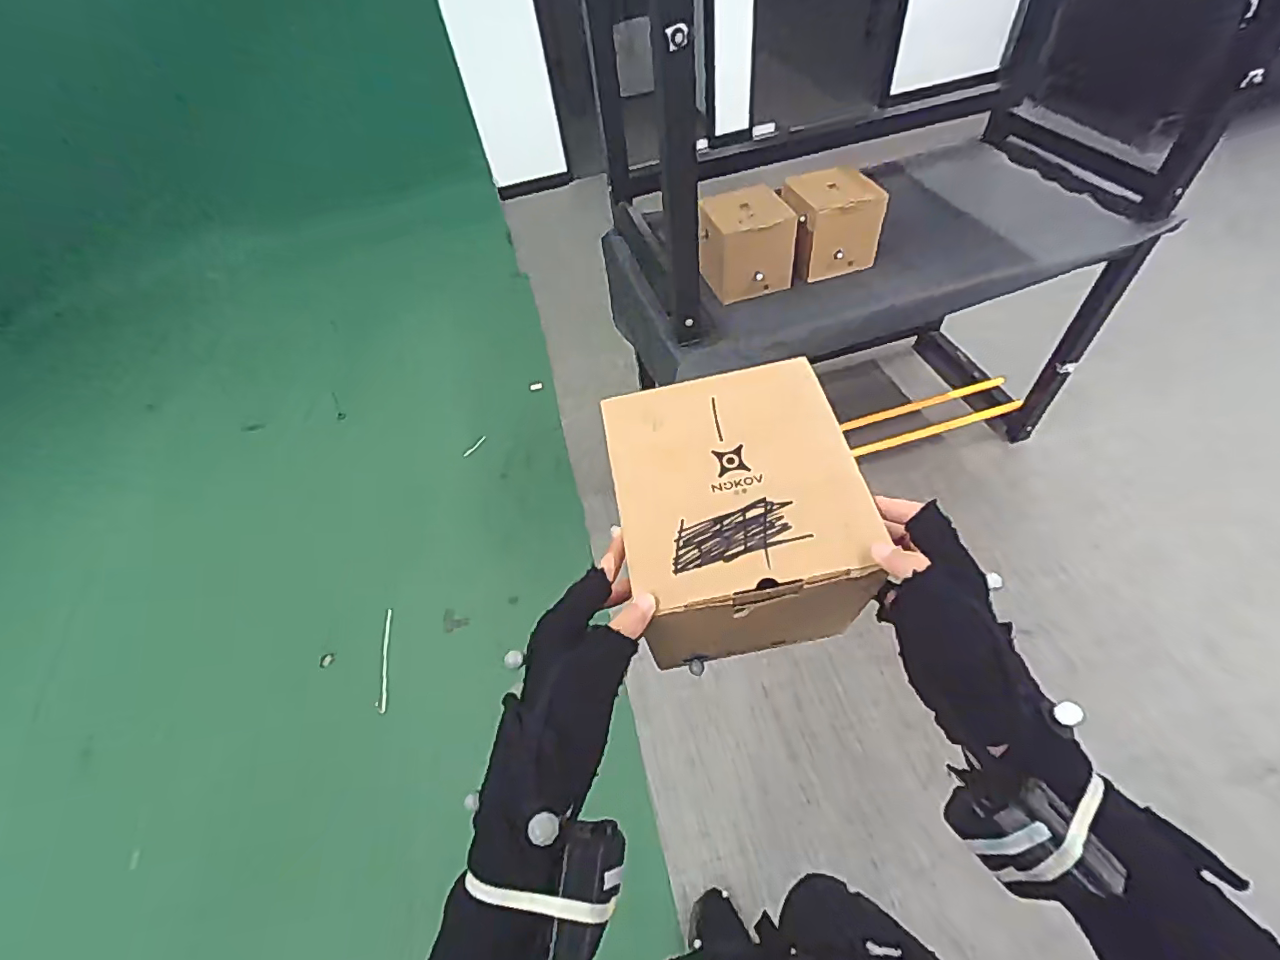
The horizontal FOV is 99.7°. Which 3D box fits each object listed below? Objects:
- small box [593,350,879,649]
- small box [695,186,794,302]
[{"bbox_3d":[0.066,0.029,0.443,0.168,0.176,0.179,-12,58,1],"label":"small box"},{"bbox_3d":[0.228,-0.533,1.225,0.168,0.176,0.179,-16,51,-4],"label":"small box"}]
